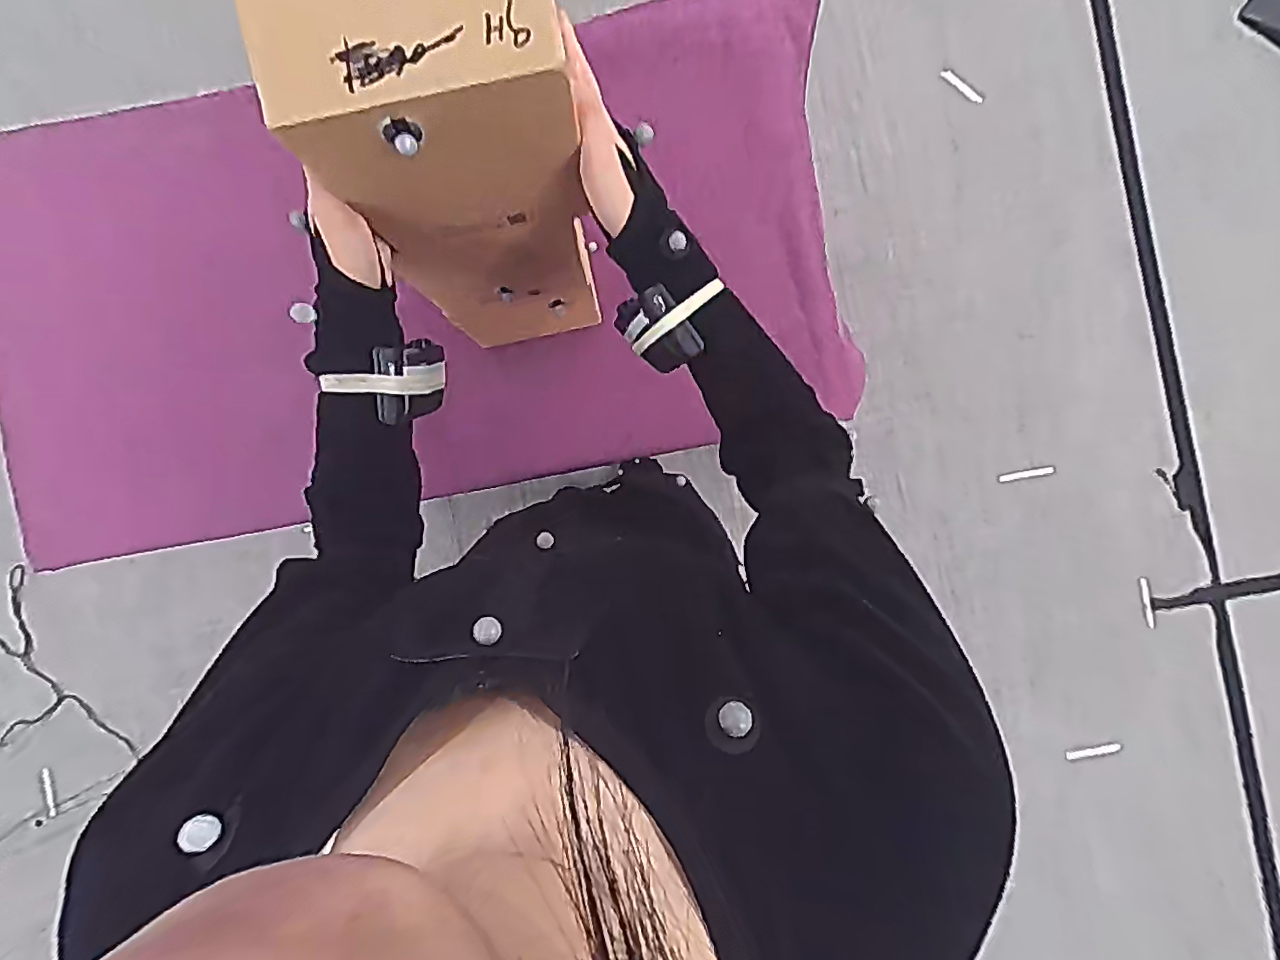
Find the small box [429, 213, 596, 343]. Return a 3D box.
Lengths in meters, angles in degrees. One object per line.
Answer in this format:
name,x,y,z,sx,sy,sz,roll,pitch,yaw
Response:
small box,-0.156,-0.289,0.694,0.179,0.176,0.168,-12,90,1

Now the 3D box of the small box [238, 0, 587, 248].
small box,-0.136,-0.289,0.365,0.168,0.176,0.179,-12,90,0
